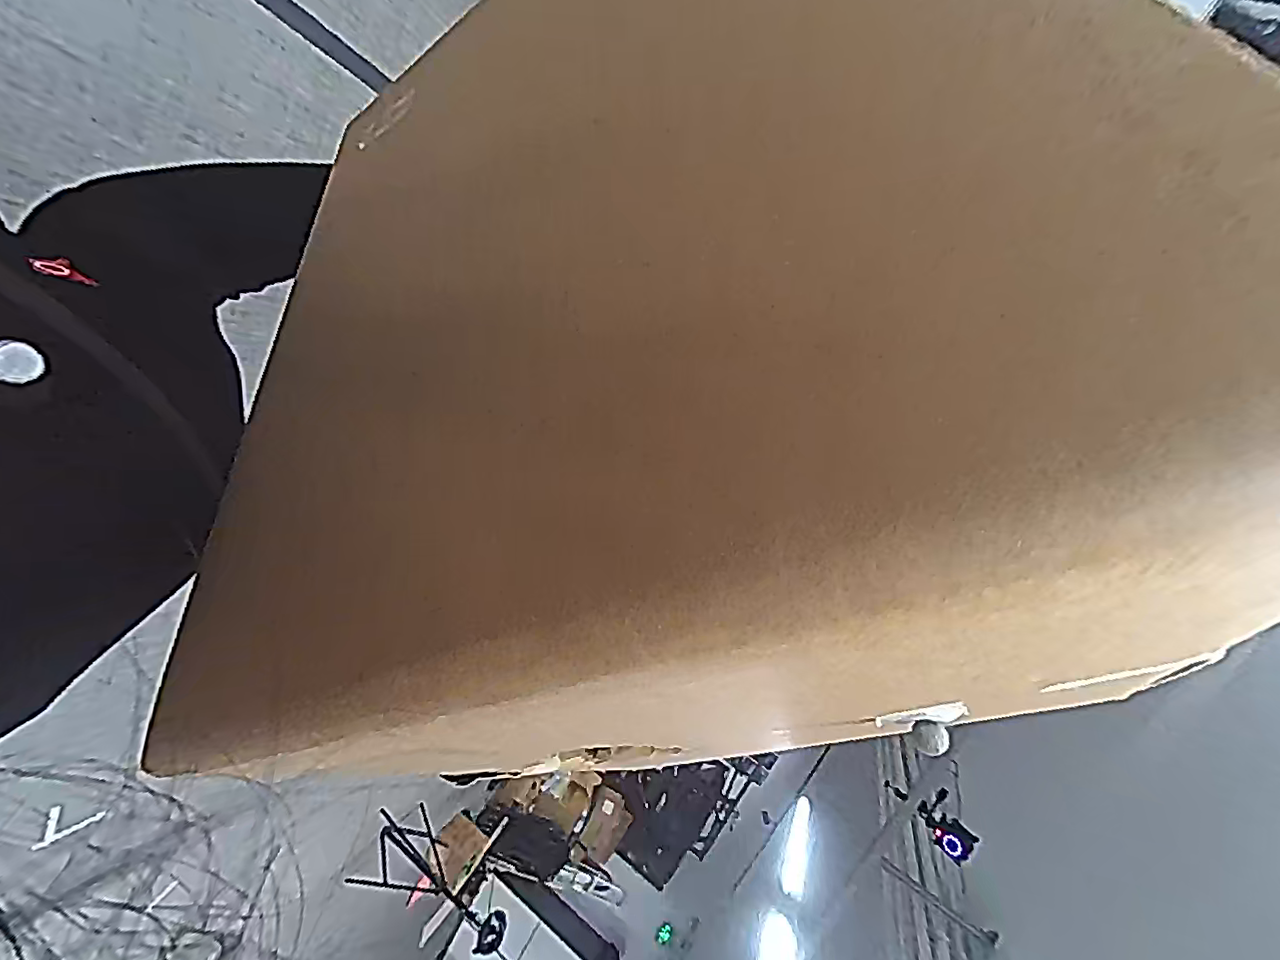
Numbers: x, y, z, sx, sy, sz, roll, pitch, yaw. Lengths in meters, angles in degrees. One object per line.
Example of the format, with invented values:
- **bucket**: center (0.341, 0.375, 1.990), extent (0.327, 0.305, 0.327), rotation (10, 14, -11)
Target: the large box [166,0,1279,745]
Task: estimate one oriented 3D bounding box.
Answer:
- **large box**: center (0.027, -0.078, 0.337), extent (0.320, 0.320, 0.408), rotation (40, 37, -51)
